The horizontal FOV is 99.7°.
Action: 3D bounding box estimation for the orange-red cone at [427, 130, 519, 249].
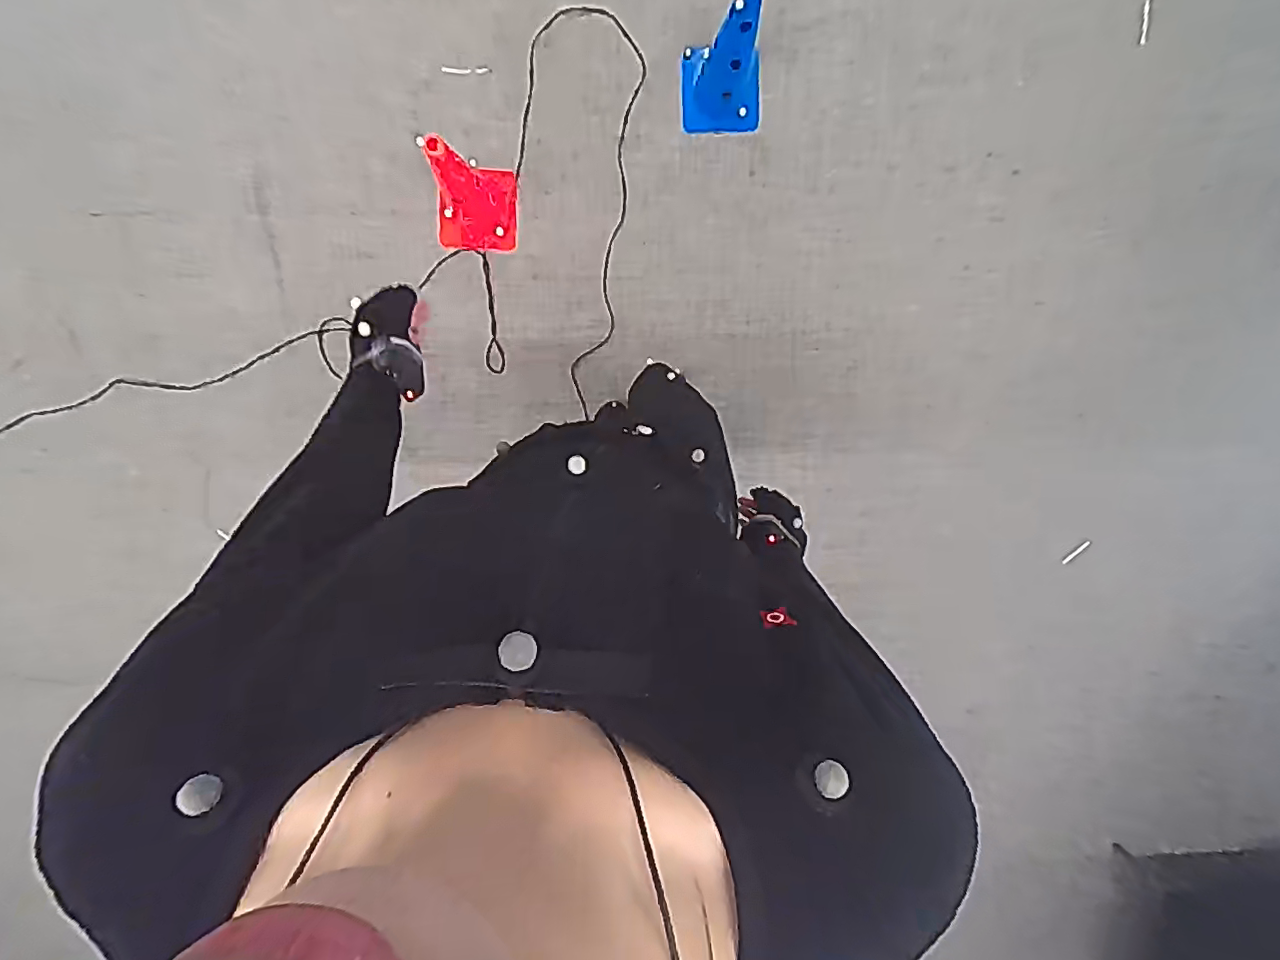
[{"bbox_3d":[-0.405,-0.683,1.218,0.198,0.360,0.199,3,96,-3],"label":"orange-red cone"}]
